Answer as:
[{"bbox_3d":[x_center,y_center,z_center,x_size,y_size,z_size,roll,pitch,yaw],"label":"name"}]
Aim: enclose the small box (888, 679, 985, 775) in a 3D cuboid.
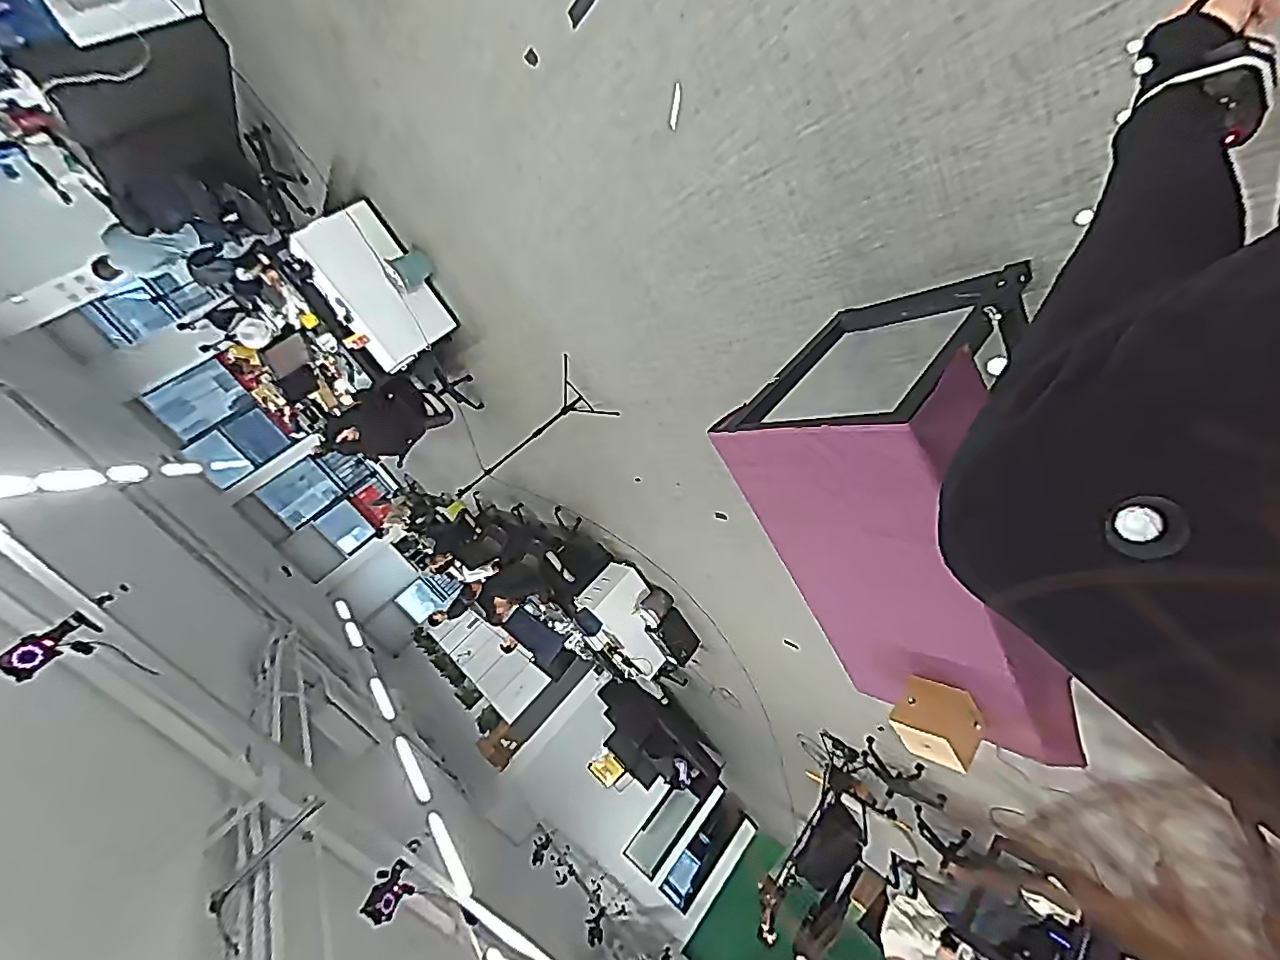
[{"bbox_3d":[0.882,0.724,1.607,0.168,0.176,0.179,54,154,-19],"label":"small box"}]
